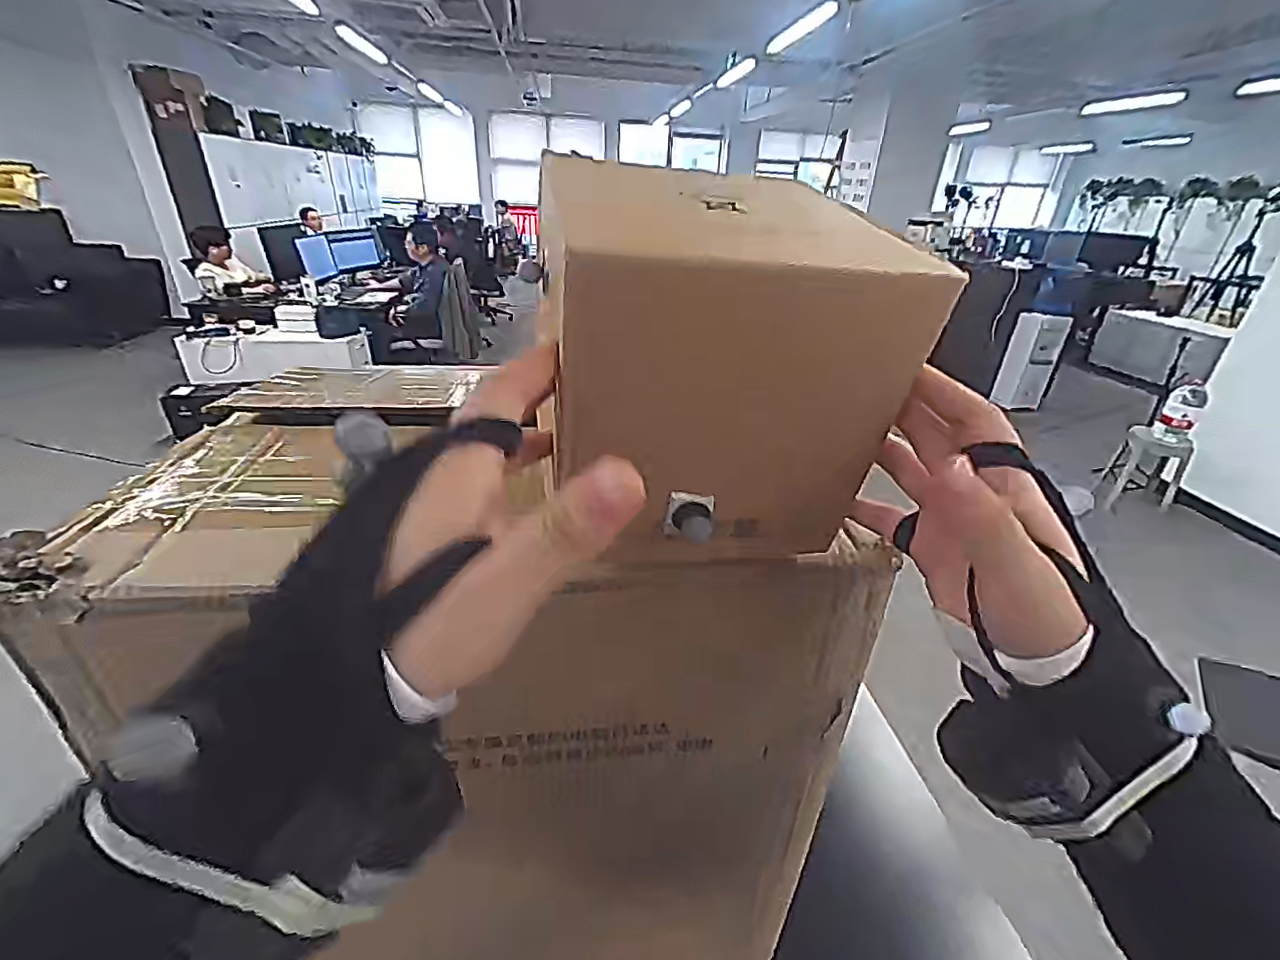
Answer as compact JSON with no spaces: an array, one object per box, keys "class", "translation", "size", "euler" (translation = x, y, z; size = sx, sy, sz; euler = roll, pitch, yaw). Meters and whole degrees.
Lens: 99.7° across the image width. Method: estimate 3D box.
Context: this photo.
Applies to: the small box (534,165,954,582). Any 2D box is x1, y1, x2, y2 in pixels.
[{"class":"small box","translation":[0.025,-0.065,0.315],"size":[0.168,0.176,0.179],"euler":[-4,41,-13]}]
